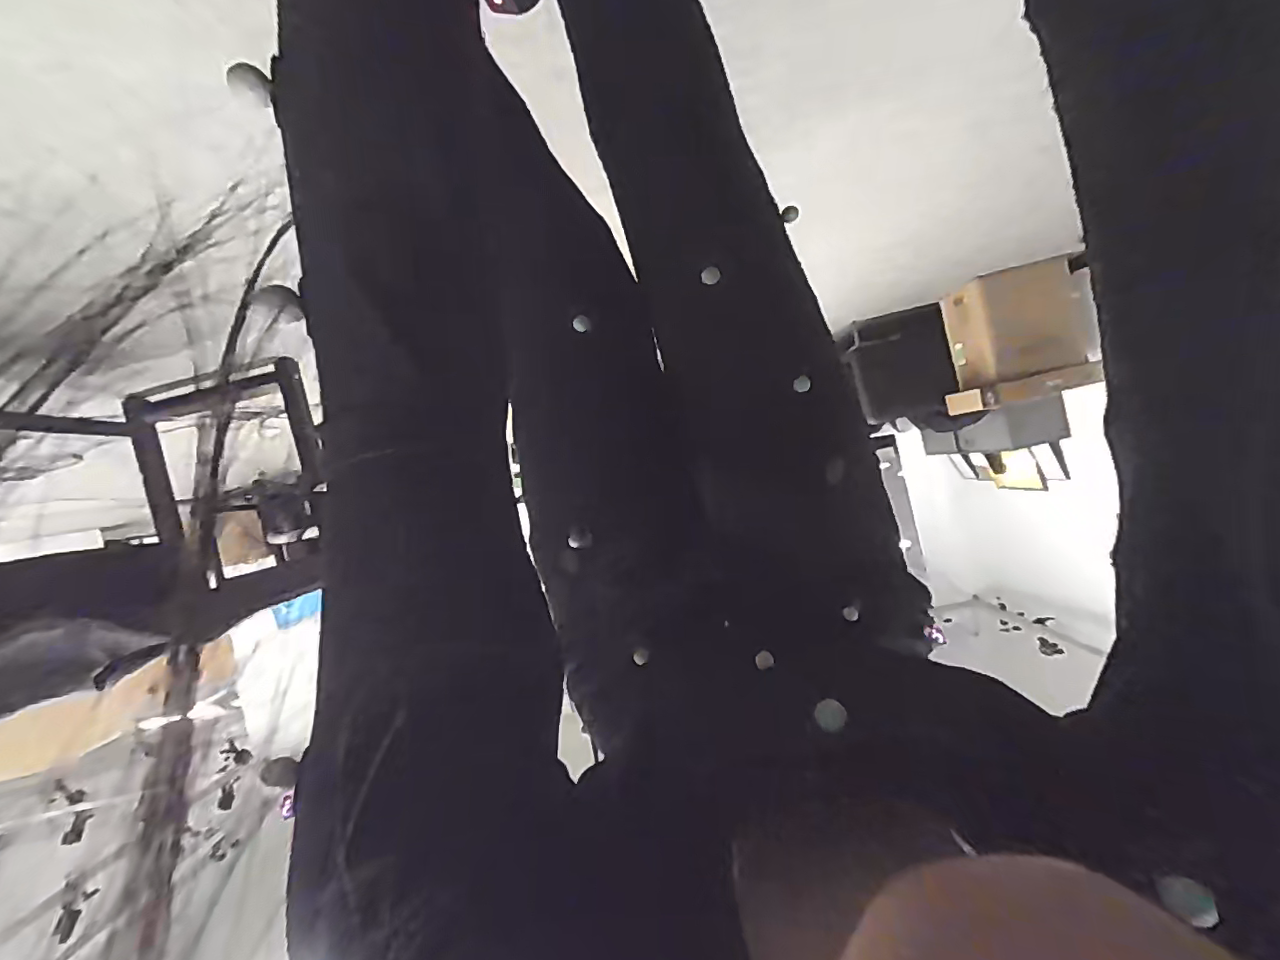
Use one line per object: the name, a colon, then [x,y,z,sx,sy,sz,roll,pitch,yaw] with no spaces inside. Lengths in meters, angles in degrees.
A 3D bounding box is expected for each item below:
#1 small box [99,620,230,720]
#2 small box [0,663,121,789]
small box: [-1.167,0.458,1.329,0.179,0.176,0.168,-14,-179,0]
small box: [-1.166,0.467,1.031,0.179,0.176,0.168,-14,-178,-1]
